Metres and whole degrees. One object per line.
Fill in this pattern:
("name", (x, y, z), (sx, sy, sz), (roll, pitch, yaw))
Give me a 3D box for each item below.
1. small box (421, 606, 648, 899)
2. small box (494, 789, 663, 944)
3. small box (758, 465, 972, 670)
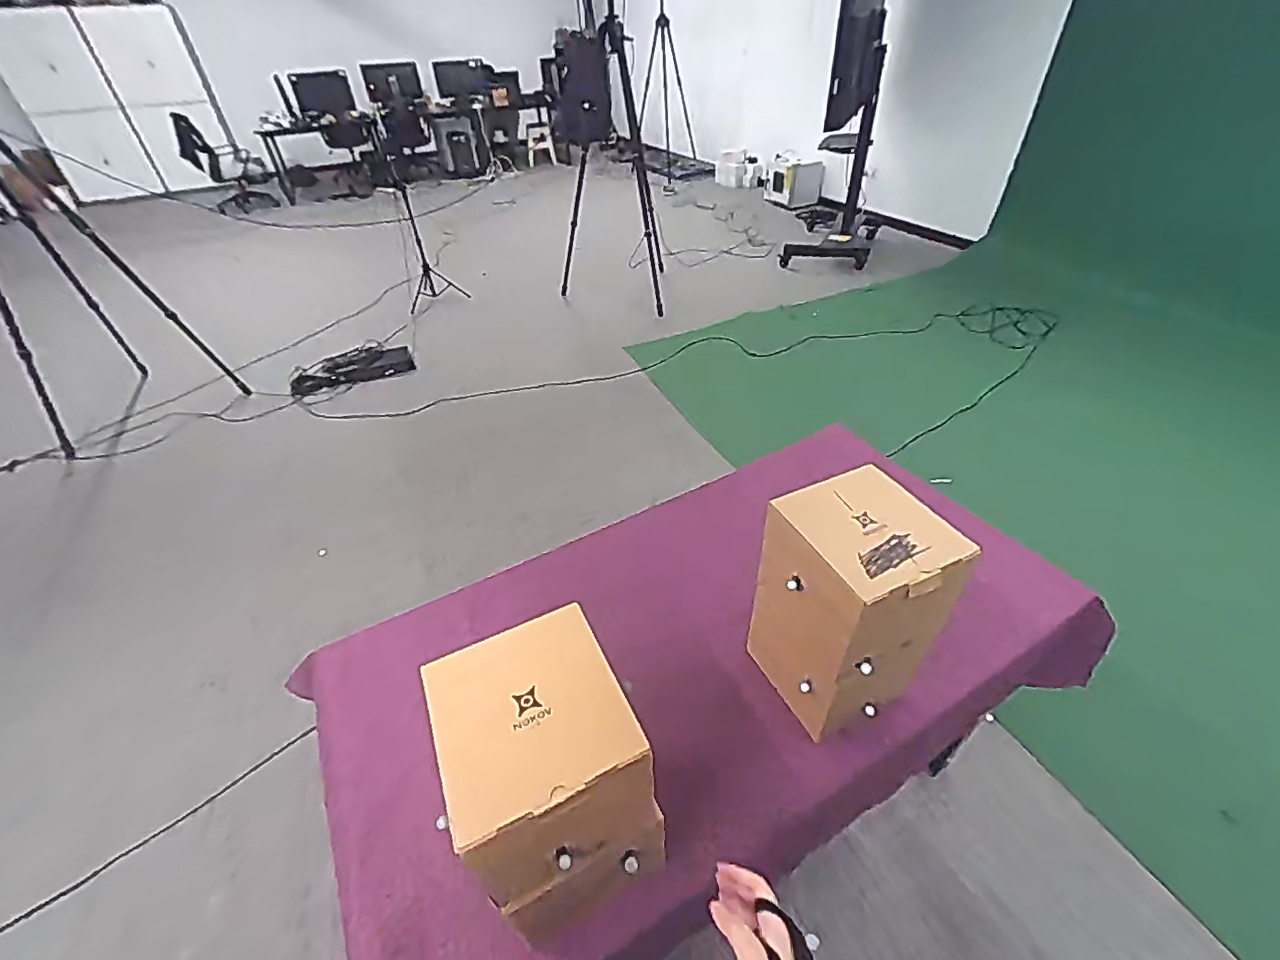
("small box", (-0.101, 0.267, 0.542), (0.168, 0.176, 0.179), (-20, 43, -18))
("small box", (-0.086, 0.396, 0.641), (0.179, 0.176, 0.168), (-20, 42, -18))
("small box", (0.268, 0.114, 0.688), (0.168, 0.176, 0.179), (-19, 42, -16))
